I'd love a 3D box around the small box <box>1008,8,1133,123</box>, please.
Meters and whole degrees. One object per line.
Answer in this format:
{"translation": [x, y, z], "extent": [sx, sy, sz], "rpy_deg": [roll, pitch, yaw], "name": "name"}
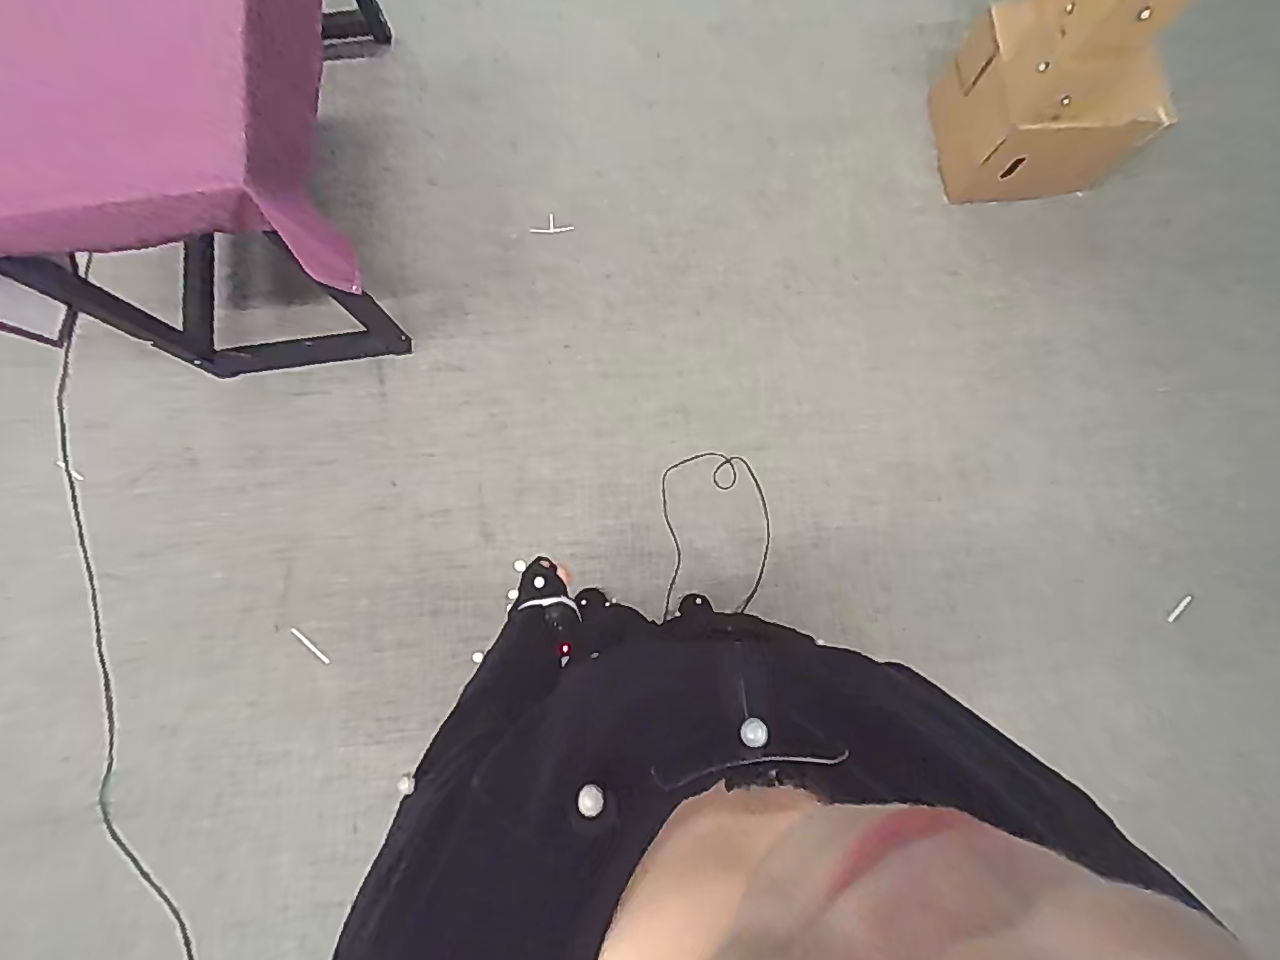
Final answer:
{"translation": [1.069, -1.031, 1.357], "extent": [0.168, 0.176, 0.179], "rpy_deg": [-3, 80, -2], "name": "small box"}
